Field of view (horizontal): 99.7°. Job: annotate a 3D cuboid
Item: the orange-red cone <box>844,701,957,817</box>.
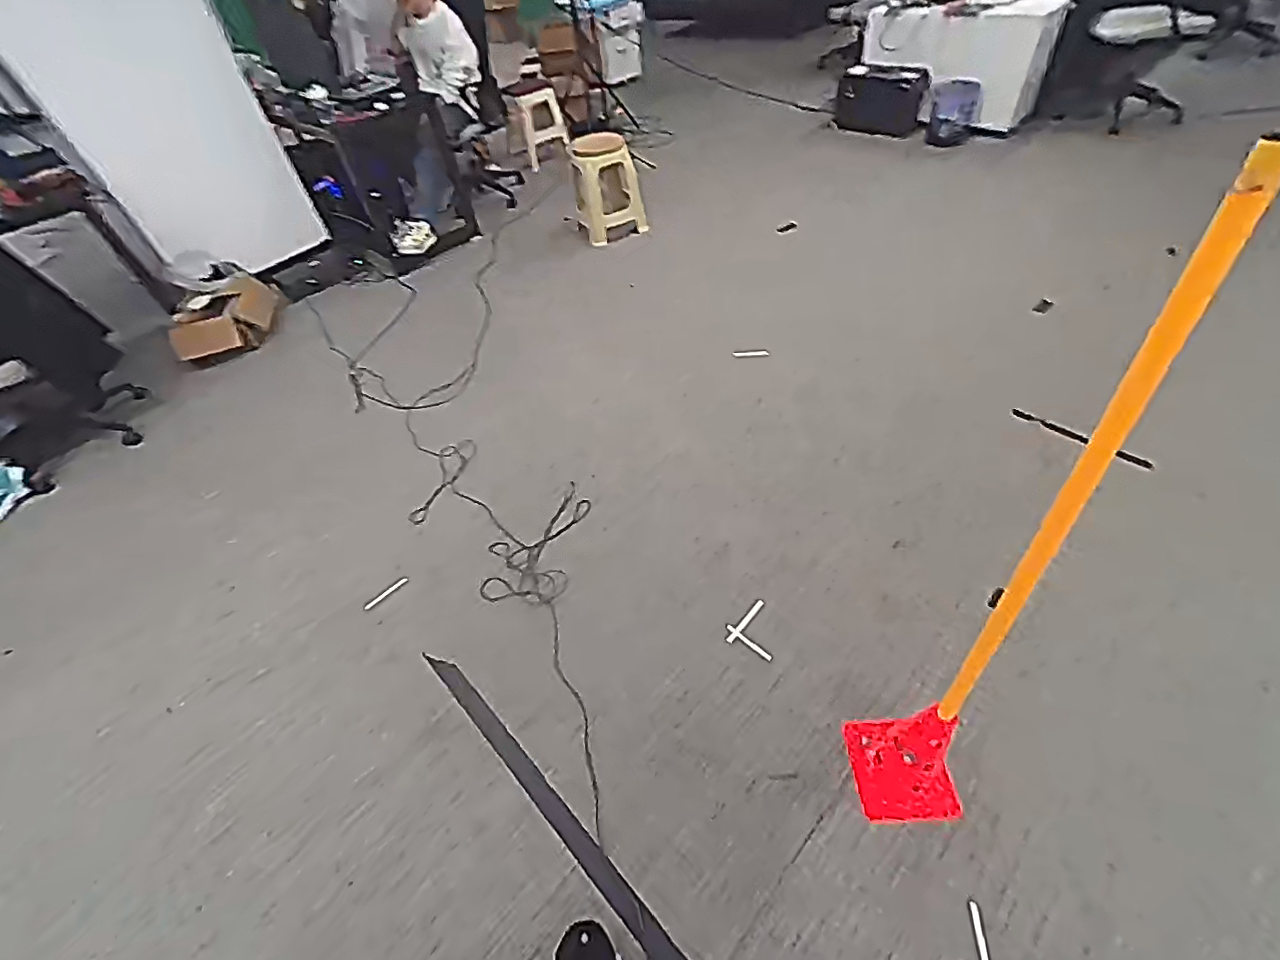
[{"bbox_3d":[0.539,0.509,1.048,0.198,0.360,0.199,-5,49,6],"label":"orange-red cone"}]
